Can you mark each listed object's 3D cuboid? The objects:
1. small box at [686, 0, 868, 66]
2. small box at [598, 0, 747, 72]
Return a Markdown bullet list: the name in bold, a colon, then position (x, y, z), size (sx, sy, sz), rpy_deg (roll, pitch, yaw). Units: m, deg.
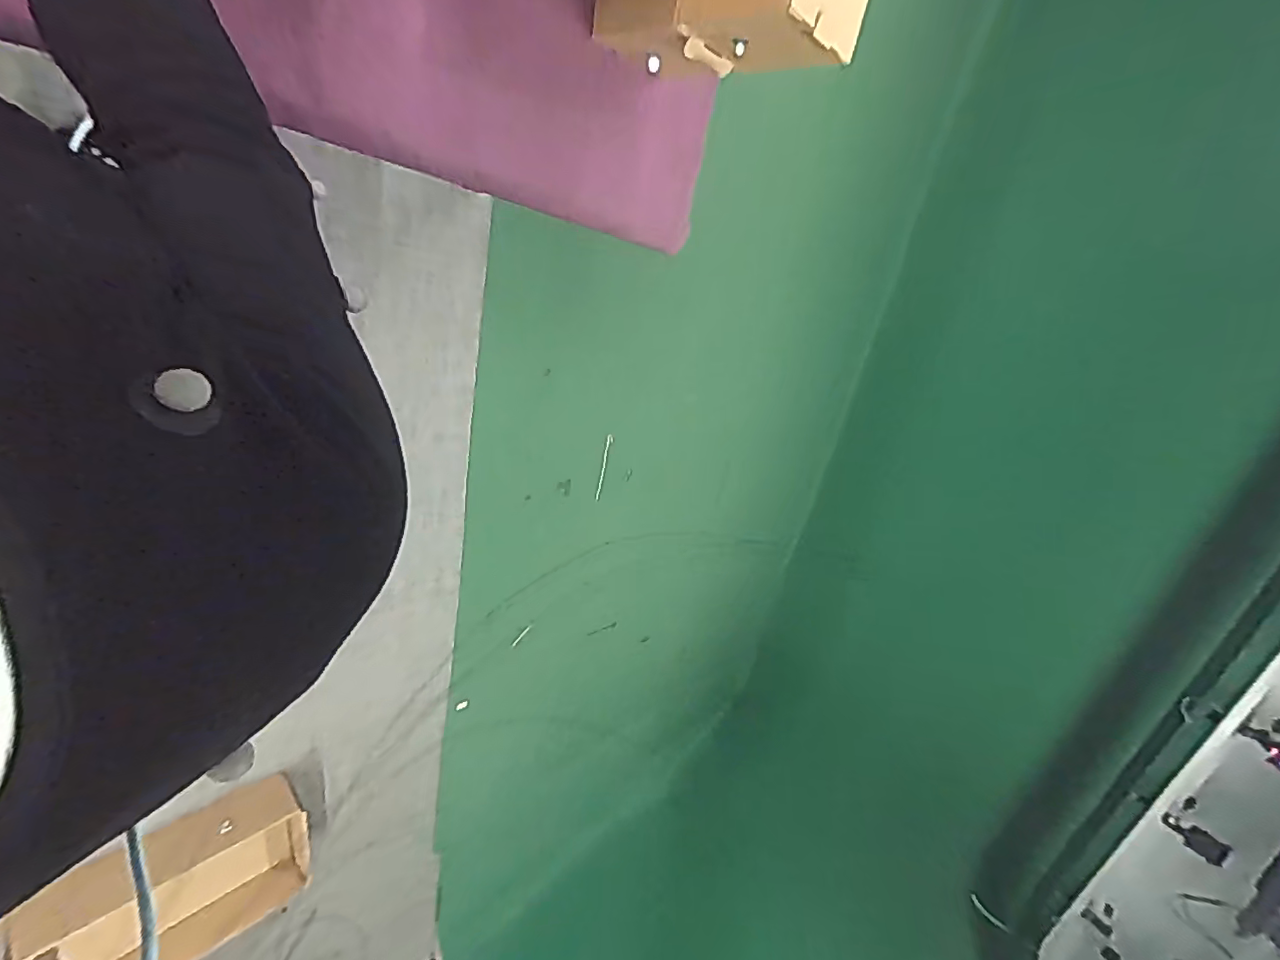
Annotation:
- **small box**: position (0.178, -0.643, 0.664), size (0.168, 0.176, 0.179), rpy_deg (-15, 125, -46)
- **small box**: position (0.059, -0.705, 0.758), size (0.168, 0.176, 0.179), rpy_deg (-15, 125, -45)
